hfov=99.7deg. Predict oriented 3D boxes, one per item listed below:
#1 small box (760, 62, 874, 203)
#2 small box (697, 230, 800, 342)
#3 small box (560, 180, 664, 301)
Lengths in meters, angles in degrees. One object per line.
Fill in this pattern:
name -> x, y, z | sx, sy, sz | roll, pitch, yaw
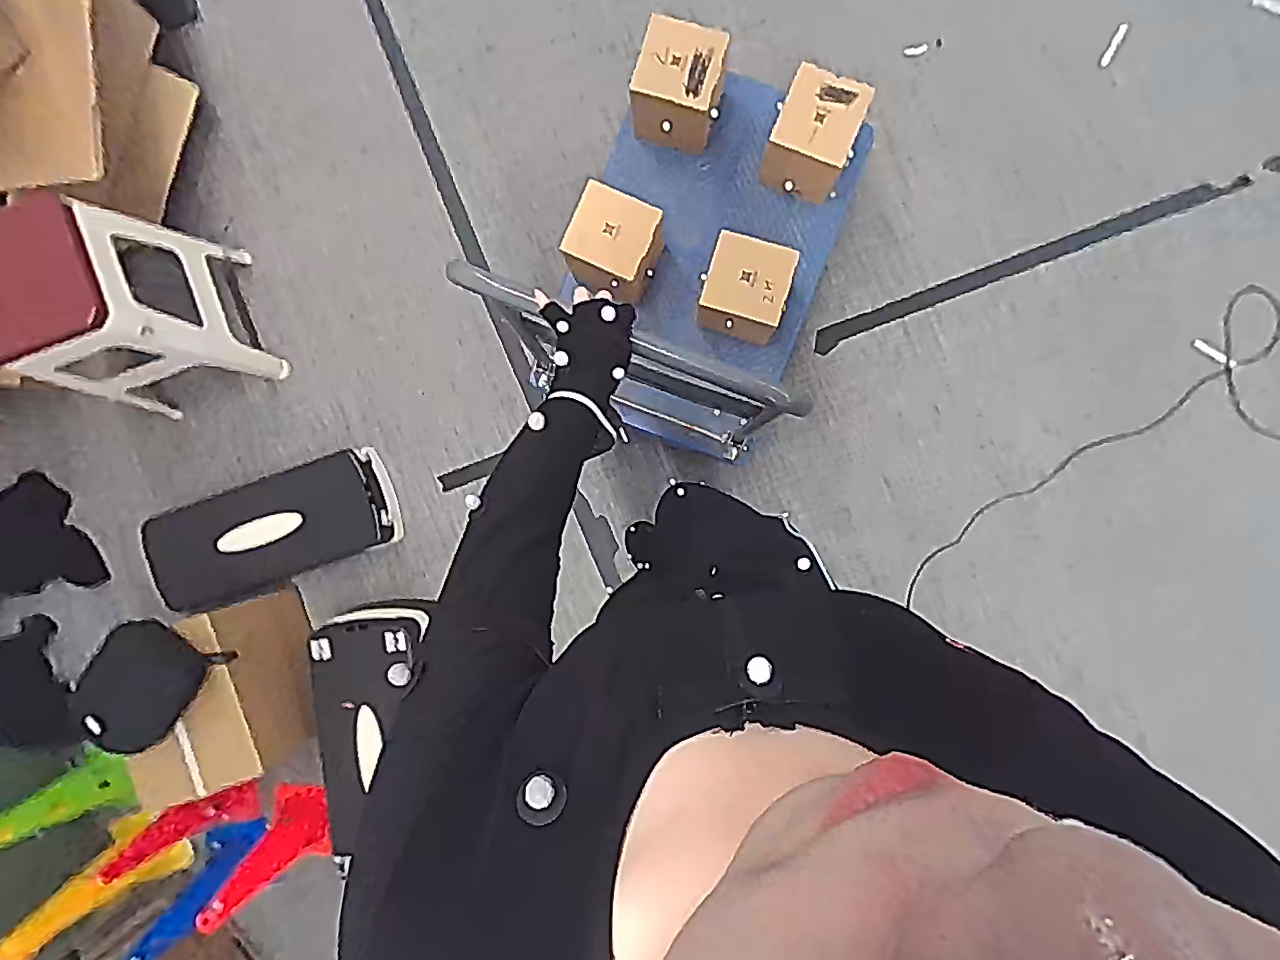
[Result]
small box -> 0.381, -0.758, 1.198 | 0.168, 0.176, 0.179 | 23, 93, 2
small box -> 0.233, -0.424, 1.212 | 0.179, 0.176, 0.168 | 18, 92, 3
small box -> -0.057, -0.531, 1.226 | 0.179, 0.176, 0.168 | 24, 92, 1
